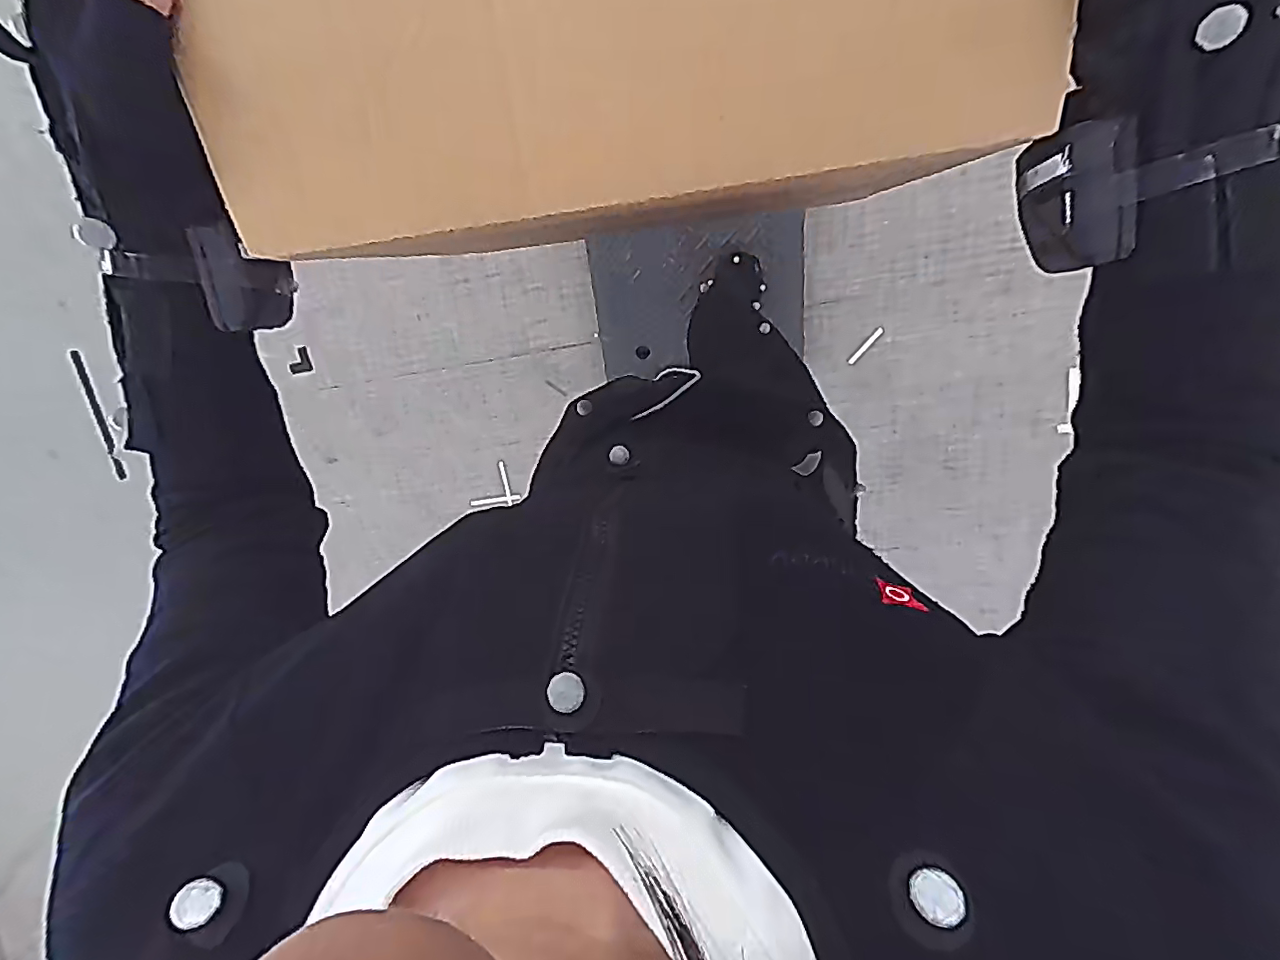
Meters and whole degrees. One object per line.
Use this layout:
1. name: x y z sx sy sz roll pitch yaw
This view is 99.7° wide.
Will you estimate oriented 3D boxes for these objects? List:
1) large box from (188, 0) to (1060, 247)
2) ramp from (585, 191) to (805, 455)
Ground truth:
1. large box: -0.017 -0.350 0.356 0.408 0.320 0.320 -5 113 8
2. ramp: 0.124 -0.528 1.230 0.509 0.206 0.991 -6 106 8
